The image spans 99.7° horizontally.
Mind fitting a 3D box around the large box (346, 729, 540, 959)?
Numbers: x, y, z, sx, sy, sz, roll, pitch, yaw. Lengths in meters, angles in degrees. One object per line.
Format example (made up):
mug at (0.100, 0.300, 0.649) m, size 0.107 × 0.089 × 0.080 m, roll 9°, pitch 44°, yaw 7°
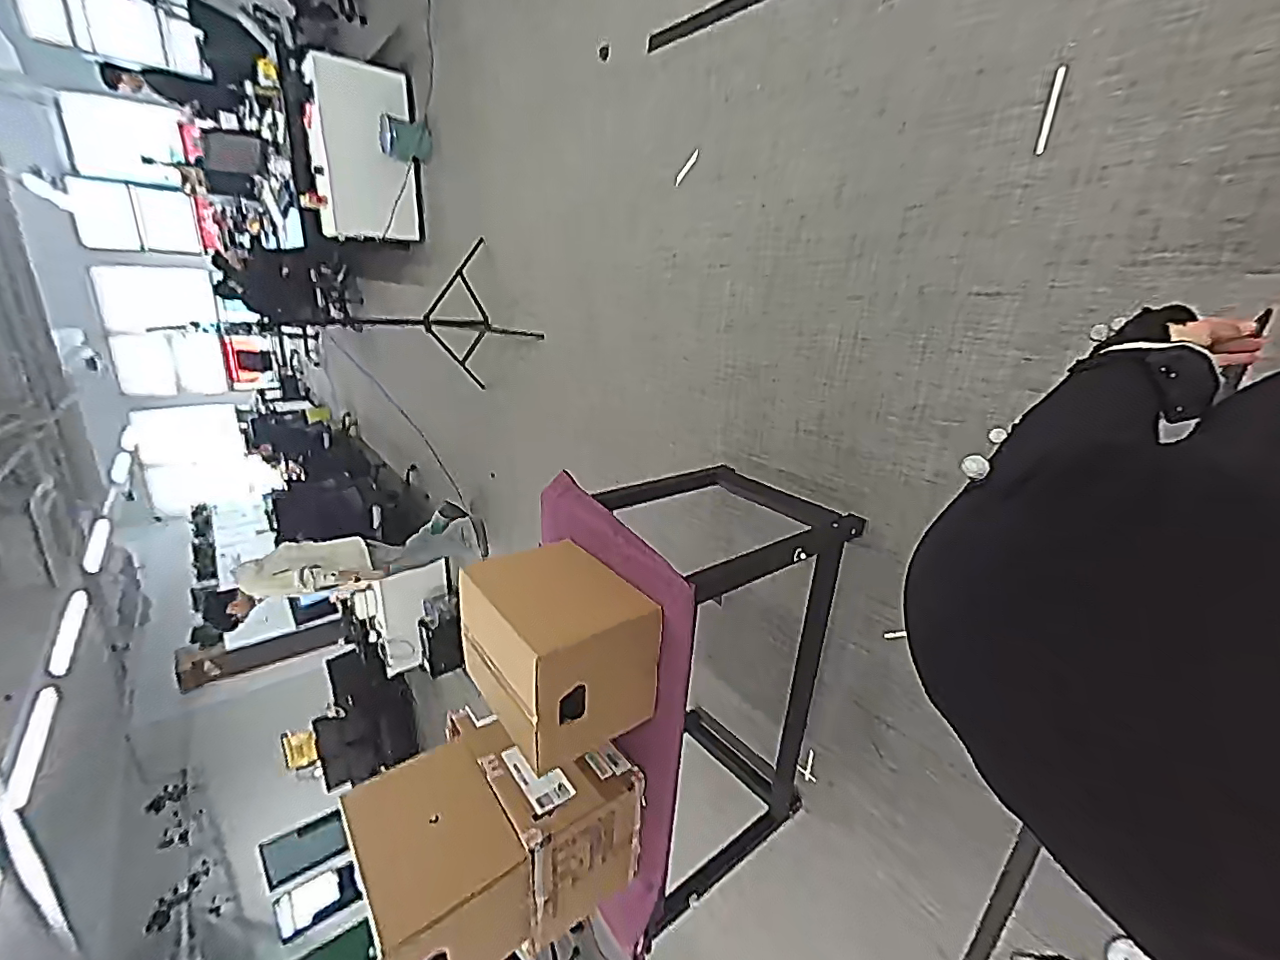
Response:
large box at (-0.480, 0.909, 1.317) m, size 0.408 × 0.320 × 0.320 m, roll 28°, pitch 126°, yaw 46°
